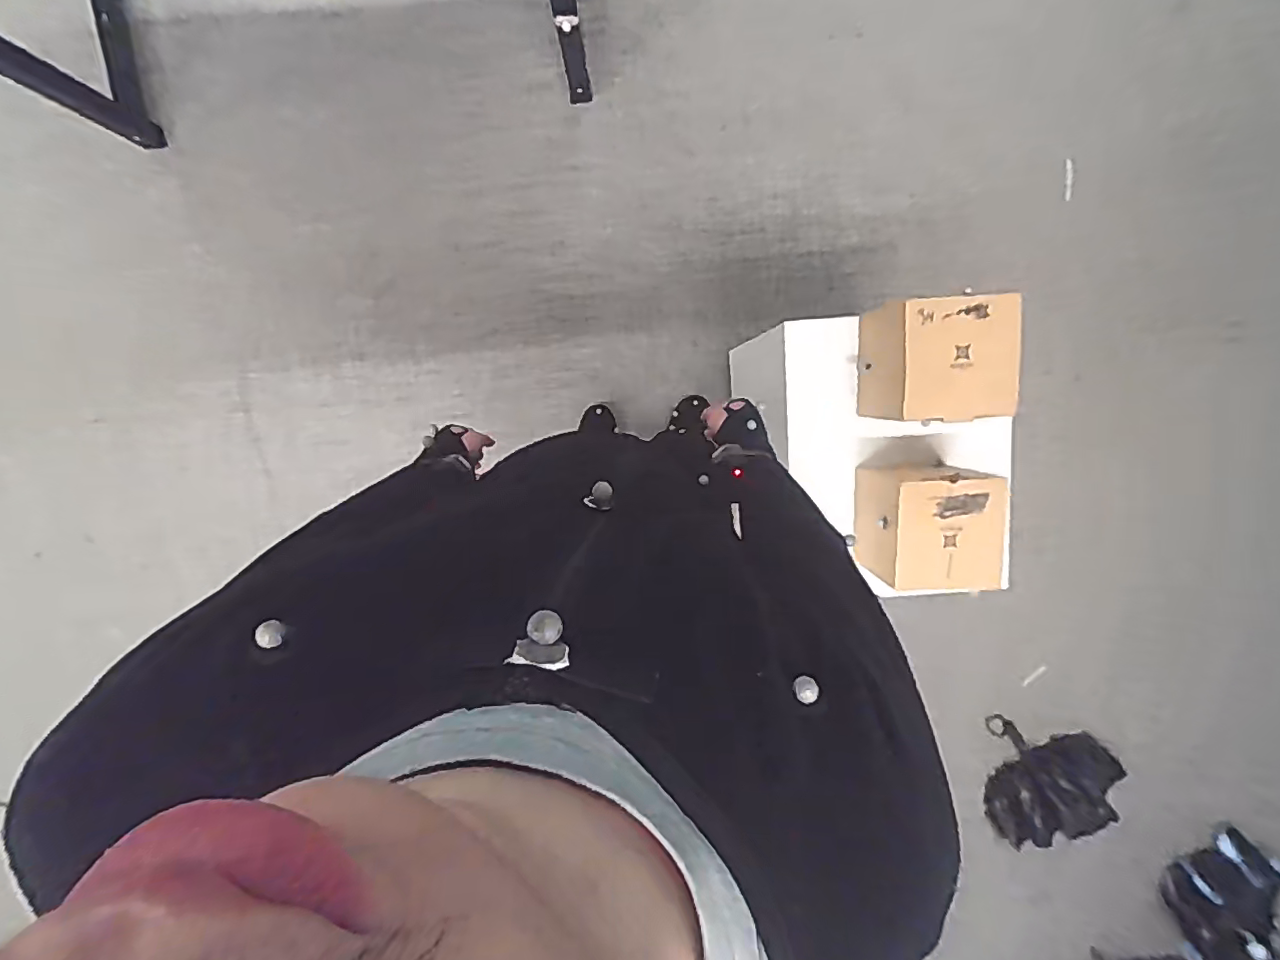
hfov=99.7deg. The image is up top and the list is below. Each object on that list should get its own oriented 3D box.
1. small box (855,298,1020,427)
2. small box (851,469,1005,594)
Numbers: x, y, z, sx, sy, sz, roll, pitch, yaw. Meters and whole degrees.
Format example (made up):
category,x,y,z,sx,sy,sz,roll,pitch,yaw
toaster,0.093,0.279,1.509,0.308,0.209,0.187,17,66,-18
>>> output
category,x,y,z,sx,sy,sz,roll,pitch,yaw
small box,0.453,-0.182,0.850,0.168,0.176,0.179,-3,100,0
small box,0.459,0.075,0.888,0.168,0.176,0.179,-1,99,0
